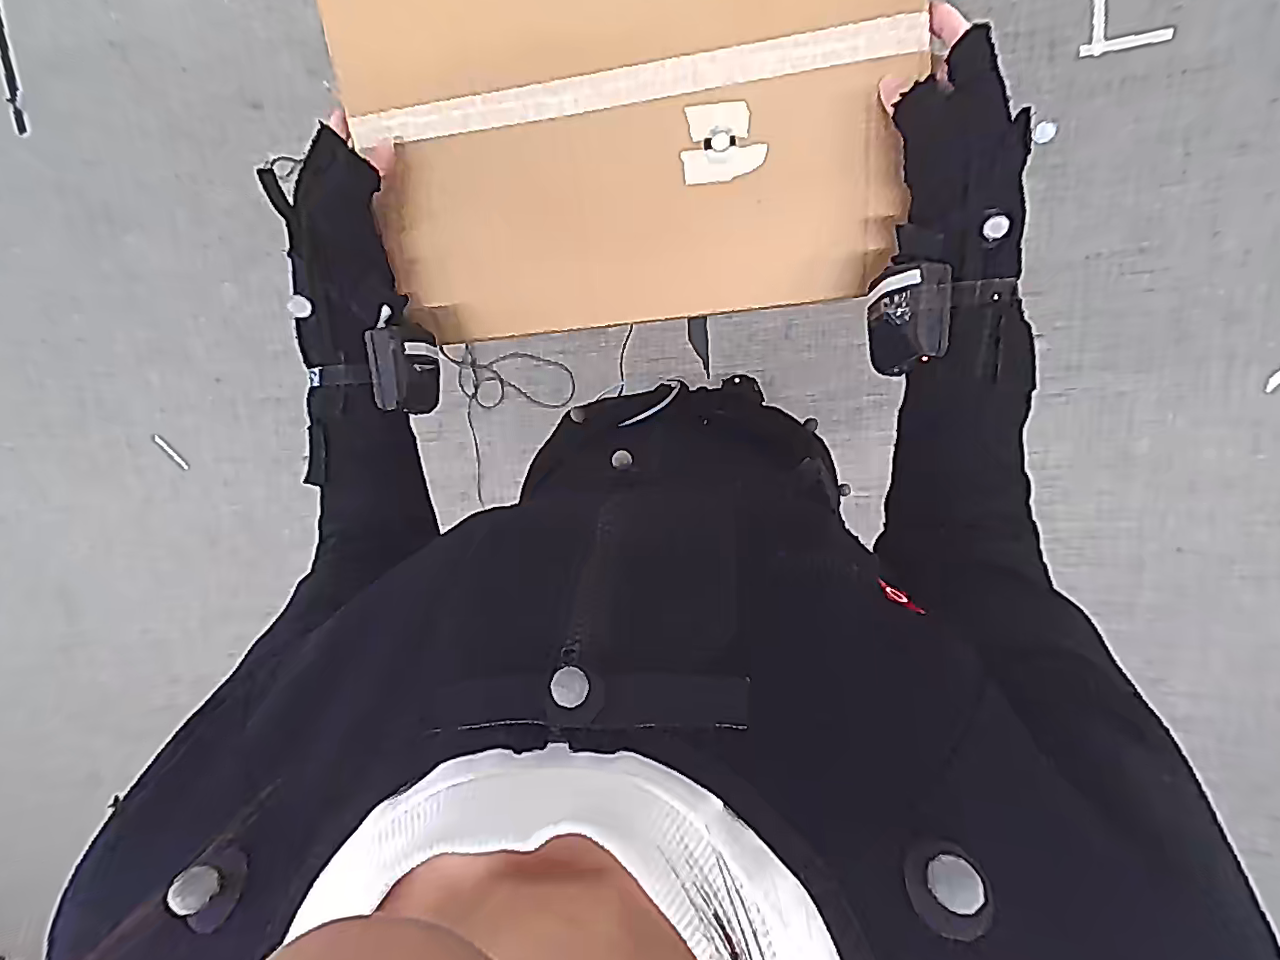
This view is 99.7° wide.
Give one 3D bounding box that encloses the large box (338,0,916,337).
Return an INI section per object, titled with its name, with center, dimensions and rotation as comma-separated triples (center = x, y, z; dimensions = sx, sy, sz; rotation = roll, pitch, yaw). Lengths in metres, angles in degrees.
[large box]
center = 0.001, -0.331, 0.528
dimensions = 0.408, 0.320, 0.320
rotation = -5, 109, 7
